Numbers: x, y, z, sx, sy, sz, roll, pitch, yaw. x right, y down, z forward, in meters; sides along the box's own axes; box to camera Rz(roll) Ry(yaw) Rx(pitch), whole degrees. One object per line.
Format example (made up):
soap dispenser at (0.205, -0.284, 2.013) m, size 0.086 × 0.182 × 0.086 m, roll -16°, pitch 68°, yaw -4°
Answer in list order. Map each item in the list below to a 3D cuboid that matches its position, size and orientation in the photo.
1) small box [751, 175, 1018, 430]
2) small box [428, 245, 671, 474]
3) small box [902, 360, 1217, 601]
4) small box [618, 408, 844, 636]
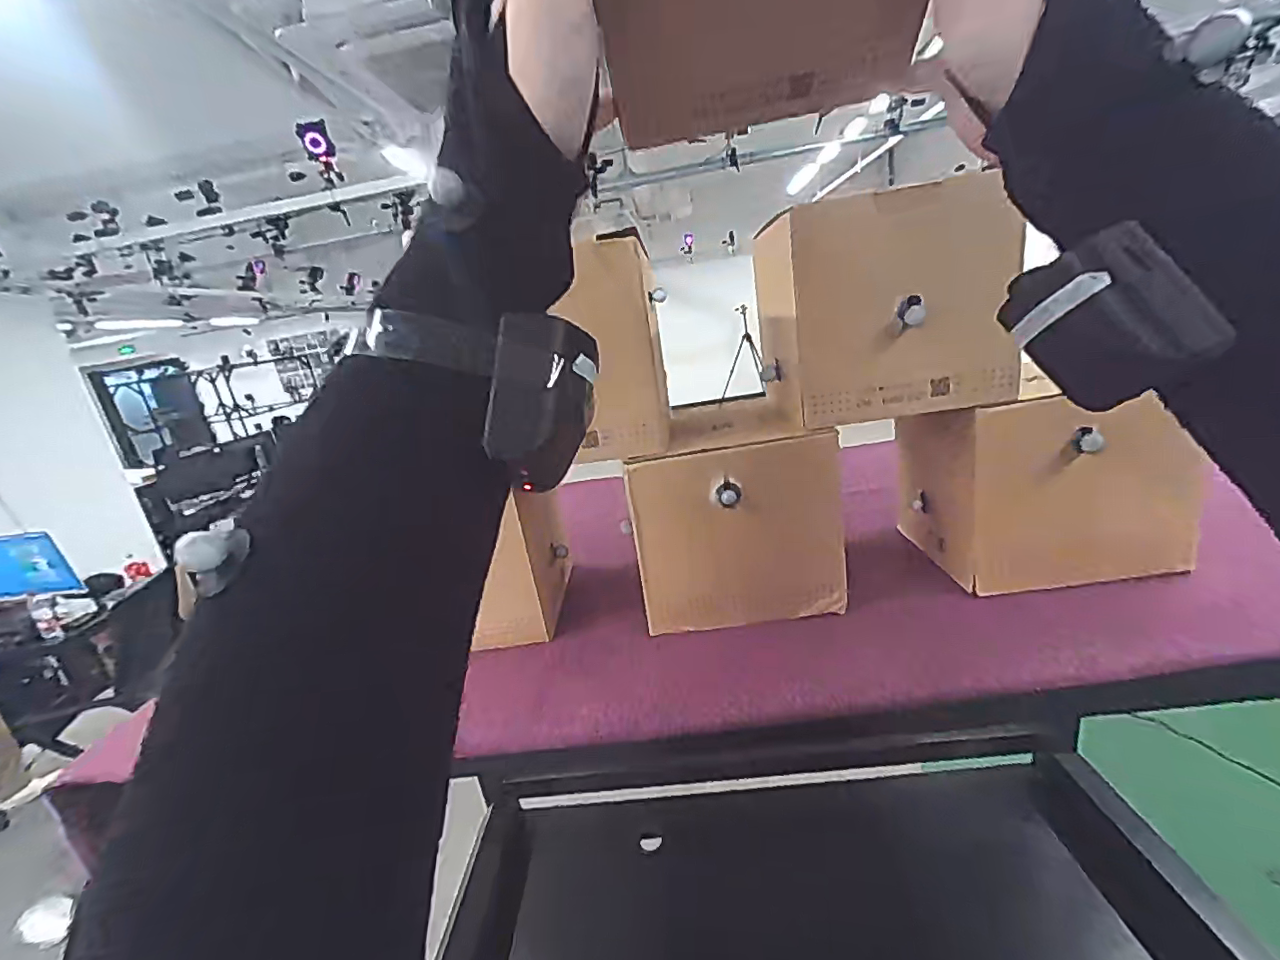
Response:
small box at (0.200, -0.143, 0.480) m, size 0.168 × 0.176 × 0.179 m, roll -8°, pitch 17°, yaw 5°
small box at (-0.064, -0.106, 0.507) m, size 0.168 × 0.176 × 0.179 m, roll -7°, pitch 16°, yaw 7°
small box at (0.360, -0.006, 0.504) m, size 0.179 × 0.176 × 0.168 m, roll -10°, pitch 15°, yaw 6°
small box at (0.085, 0.035, 0.527) m, size 0.179 × 0.176 × 0.168 m, roll -8°, pitch 16°, yaw 6°
